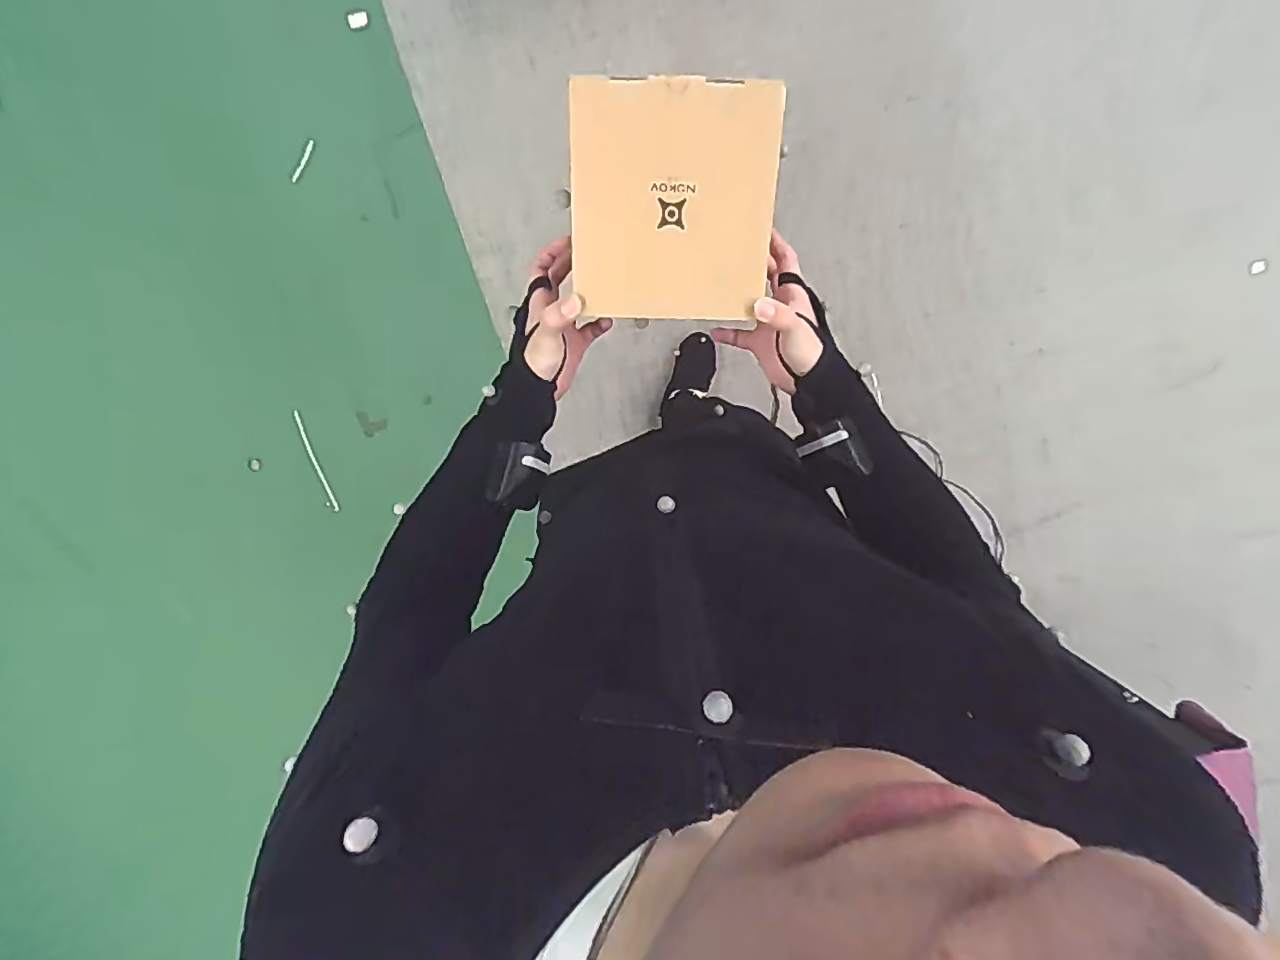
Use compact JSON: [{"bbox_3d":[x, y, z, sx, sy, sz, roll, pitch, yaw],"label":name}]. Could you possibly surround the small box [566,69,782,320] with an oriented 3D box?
[{"bbox_3d":[0.023,-0.252,0.510,0.168,0.176,0.179,2,110,-1],"label":"small box"}]
